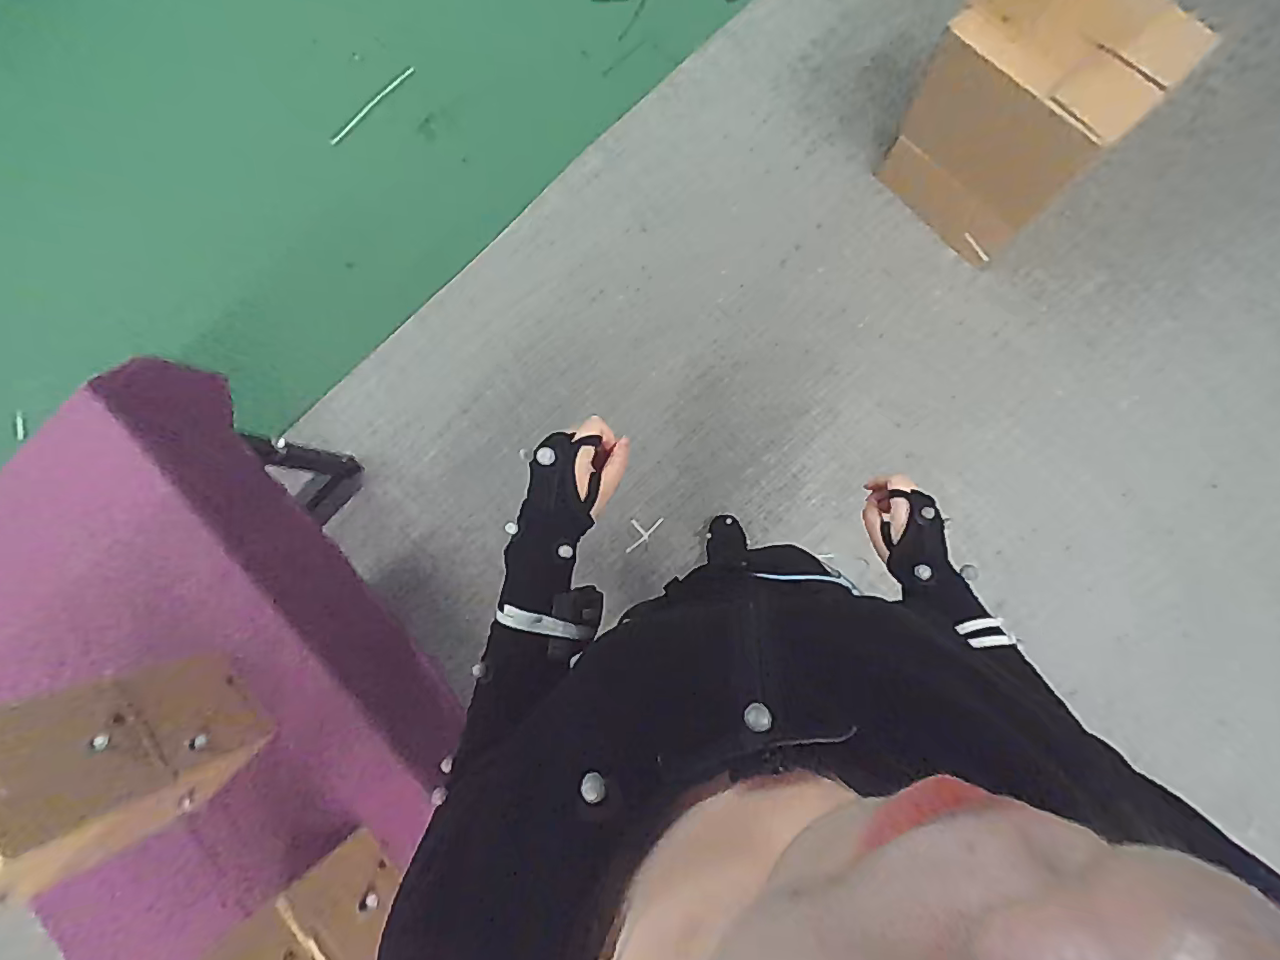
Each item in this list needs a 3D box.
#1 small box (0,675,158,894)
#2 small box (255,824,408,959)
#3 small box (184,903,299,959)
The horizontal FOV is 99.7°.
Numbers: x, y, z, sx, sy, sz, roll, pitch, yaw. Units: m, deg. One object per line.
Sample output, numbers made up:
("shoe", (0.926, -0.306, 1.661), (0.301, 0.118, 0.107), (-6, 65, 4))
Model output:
("small box", (-0.706, 0.350, 0.596), (0.179, 0.176, 0.168), (-41, 83, 1))
("small box", (-0.439, 0.608, 0.713), (0.179, 0.176, 0.168), (-43, 82, 0))
("small box", (-0.463, 0.597, 0.550), (0.179, 0.176, 0.168), (-42, 82, 2))
